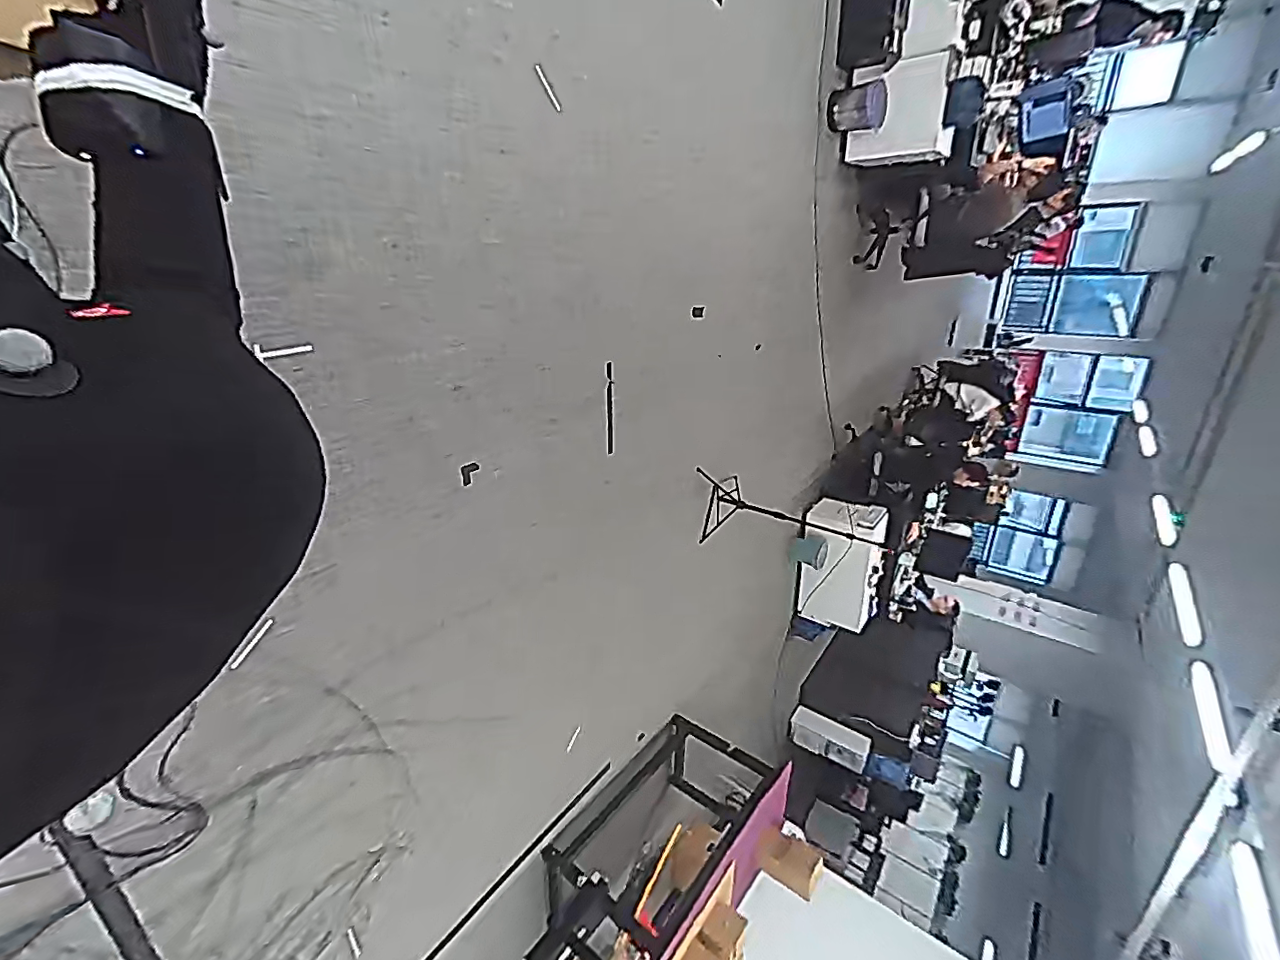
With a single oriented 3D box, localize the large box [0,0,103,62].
[{"bbox_3d":[-0.562,-0.432,0.219,0.408,0.320,0.320,-19,127,-55],"label":"large box"}]
